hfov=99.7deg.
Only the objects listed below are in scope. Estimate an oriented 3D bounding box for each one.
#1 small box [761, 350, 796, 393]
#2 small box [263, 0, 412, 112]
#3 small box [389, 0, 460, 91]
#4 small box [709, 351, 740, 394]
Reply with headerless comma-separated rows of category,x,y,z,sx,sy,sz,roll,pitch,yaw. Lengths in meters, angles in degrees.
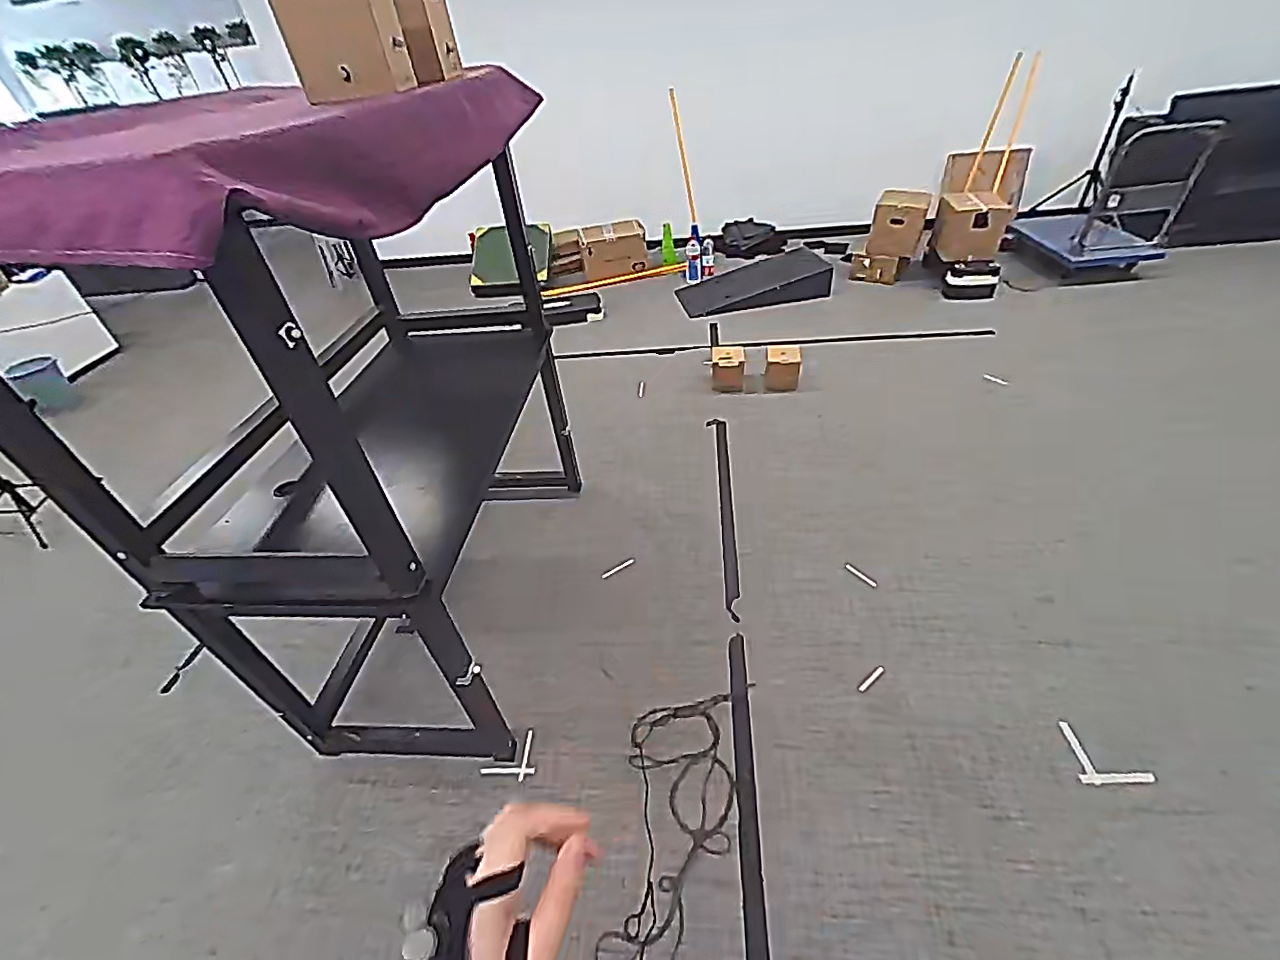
small box,0.732,-0.570,2.855,0.168,0.176,0.179,3,40,9
small box,-0.569,-0.832,1.050,0.179,0.176,0.168,-7,39,0
small box,-0.553,-1.025,1.278,0.179,0.176,0.168,-4,41,5
small box,0.452,-0.571,2.890,0.168,0.176,0.179,0,39,7
